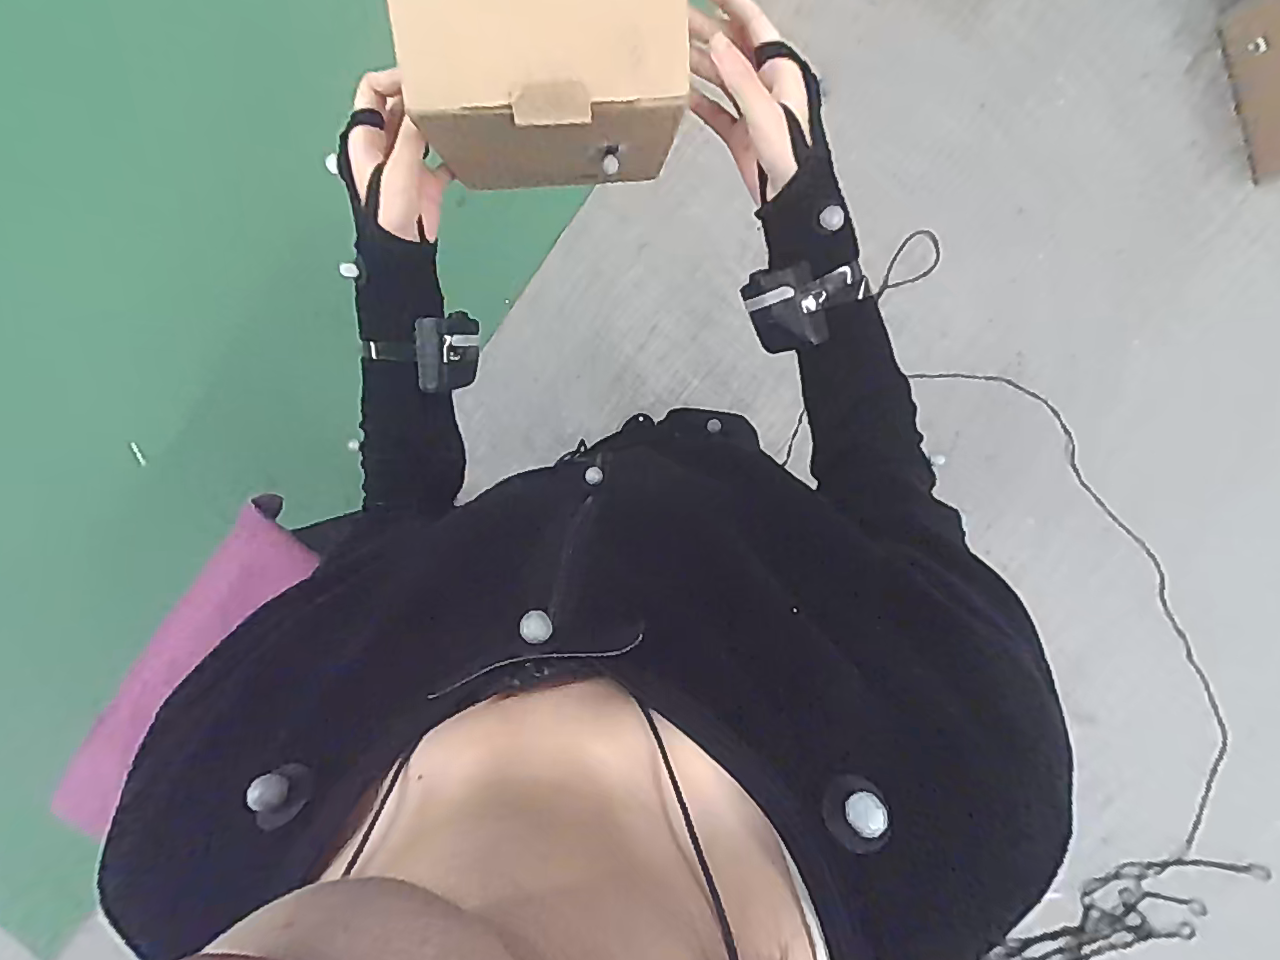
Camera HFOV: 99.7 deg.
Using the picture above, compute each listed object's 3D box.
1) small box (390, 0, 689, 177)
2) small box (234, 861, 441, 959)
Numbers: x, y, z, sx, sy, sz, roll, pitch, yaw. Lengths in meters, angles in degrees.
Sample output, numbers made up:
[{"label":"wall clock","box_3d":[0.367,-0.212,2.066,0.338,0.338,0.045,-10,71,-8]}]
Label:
[{"label":"small box","box_3d":[-0.062,-0.318,0.364,0.168,0.176,0.179,-5,105,-5]},{"label":"small box","box_3d":[-0.349,0.549,0.563,0.179,0.176,0.168,40,99,-3]}]
